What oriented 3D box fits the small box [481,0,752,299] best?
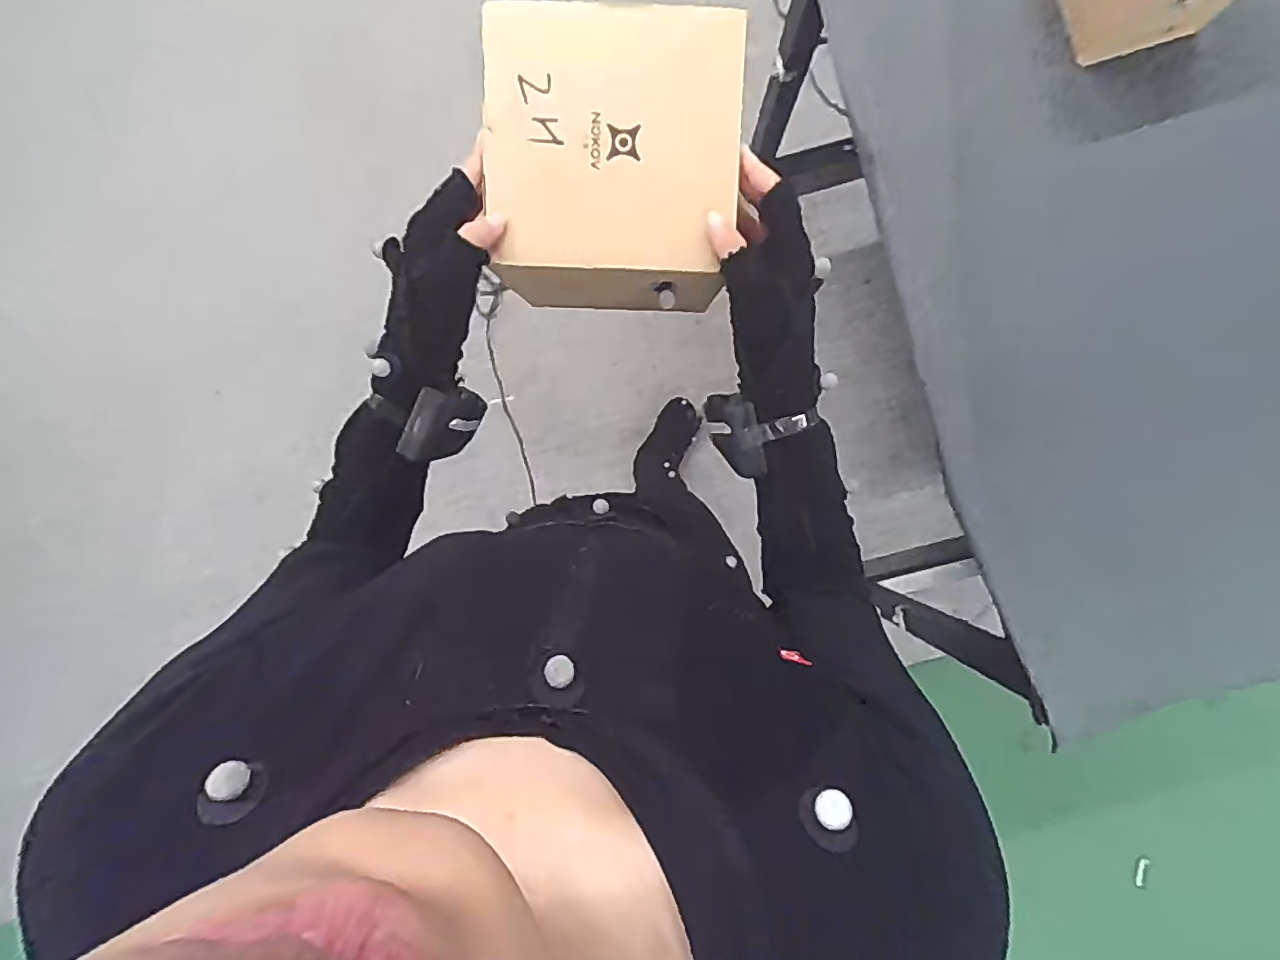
[{"bbox_3d":[-0.018,-0.247,0.434,0.179,0.176,0.168,2,99,0],"label":"small box"}]

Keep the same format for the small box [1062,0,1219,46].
[{"bbox_3d":[0.635,-0.664,0.638,0.168,0.176,0.179,-17,89,2],"label":"small box"}]
